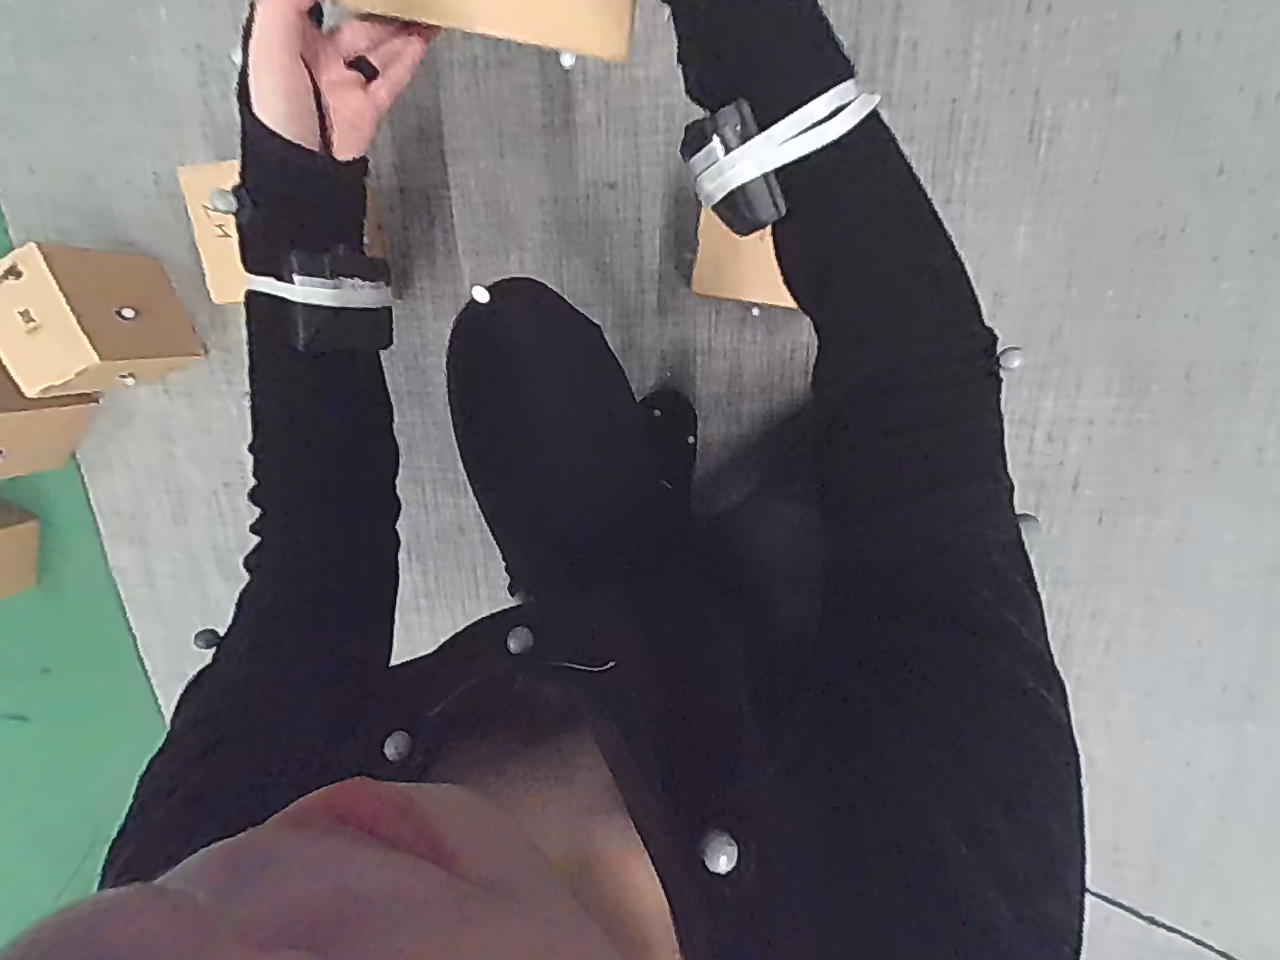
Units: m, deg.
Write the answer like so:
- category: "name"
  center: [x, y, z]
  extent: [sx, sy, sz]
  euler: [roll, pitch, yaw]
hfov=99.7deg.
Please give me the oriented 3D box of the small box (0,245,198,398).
- category: "small box"
  center: [-0.863, -0.246, 0.852]
  extent: [0.168, 0.176, 0.179]
  euler: [-16, 103, 13]

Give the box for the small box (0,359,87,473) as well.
- category: "small box"
  center: [-1.123, -0.120, 0.927]
  extent: [0.168, 0.176, 0.179]
  euler: [45, 106, -5]

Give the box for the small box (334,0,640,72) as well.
- category: "small box"
  center: [-0.076, -0.373, 0.314]
  extent: [0.179, 0.176, 0.168]
  euler: [6, 139, -7]

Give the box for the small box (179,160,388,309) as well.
- category: "small box"
  center: [-0.484, -0.335, 0.768]
  extent: [0.179, 0.176, 0.168]
  euler: [-1, 105, 8]
